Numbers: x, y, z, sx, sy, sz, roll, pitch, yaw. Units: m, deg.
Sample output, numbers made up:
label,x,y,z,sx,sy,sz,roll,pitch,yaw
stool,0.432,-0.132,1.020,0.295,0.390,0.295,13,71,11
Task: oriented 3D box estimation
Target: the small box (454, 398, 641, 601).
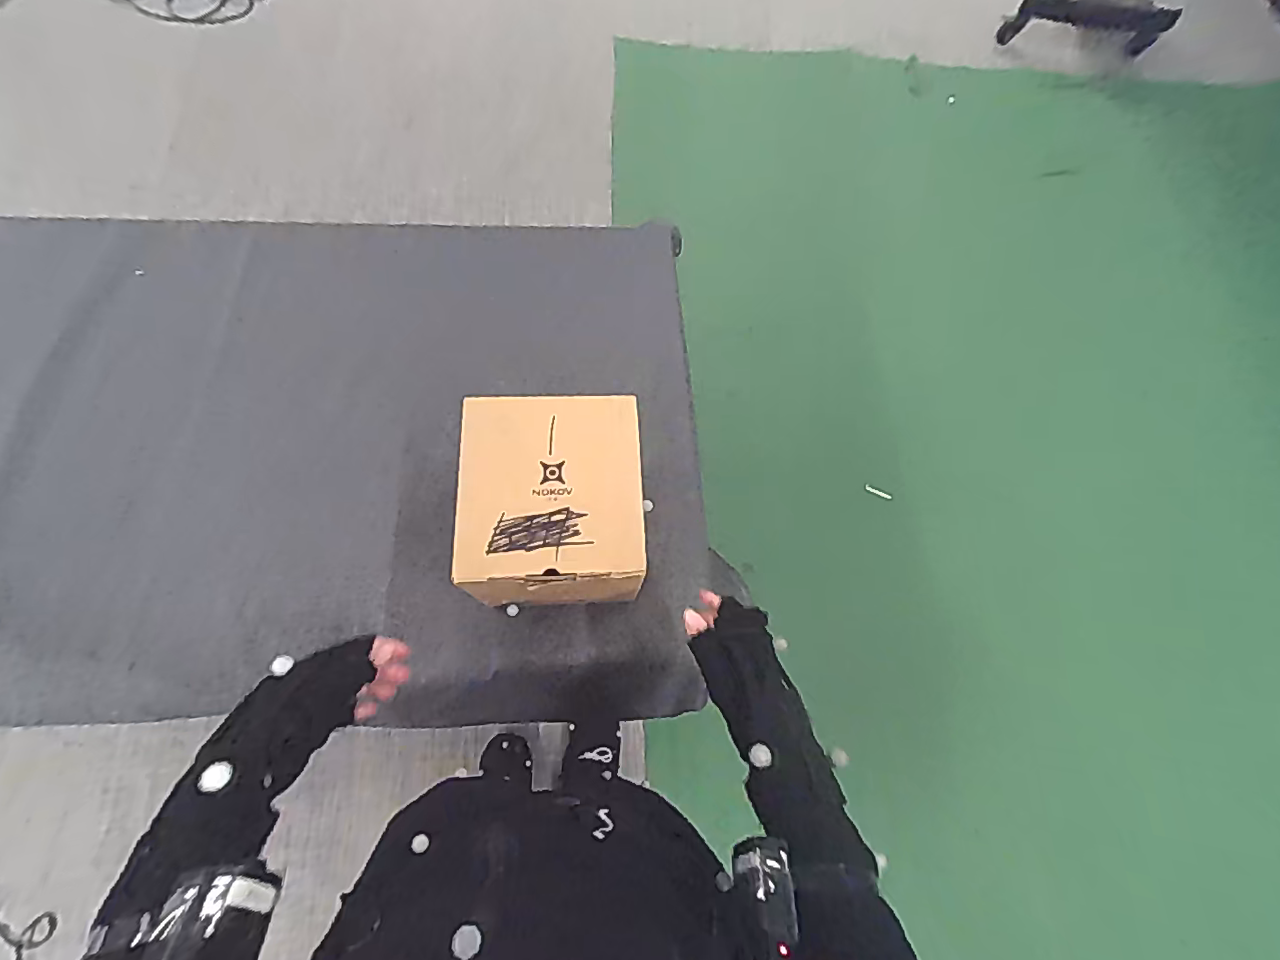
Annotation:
label,x,y,z,sx,sy,sz,roll,pitch,yaw
small box,-0.087,0.031,0.568,0.168,0.176,0.179,-1,69,-5
